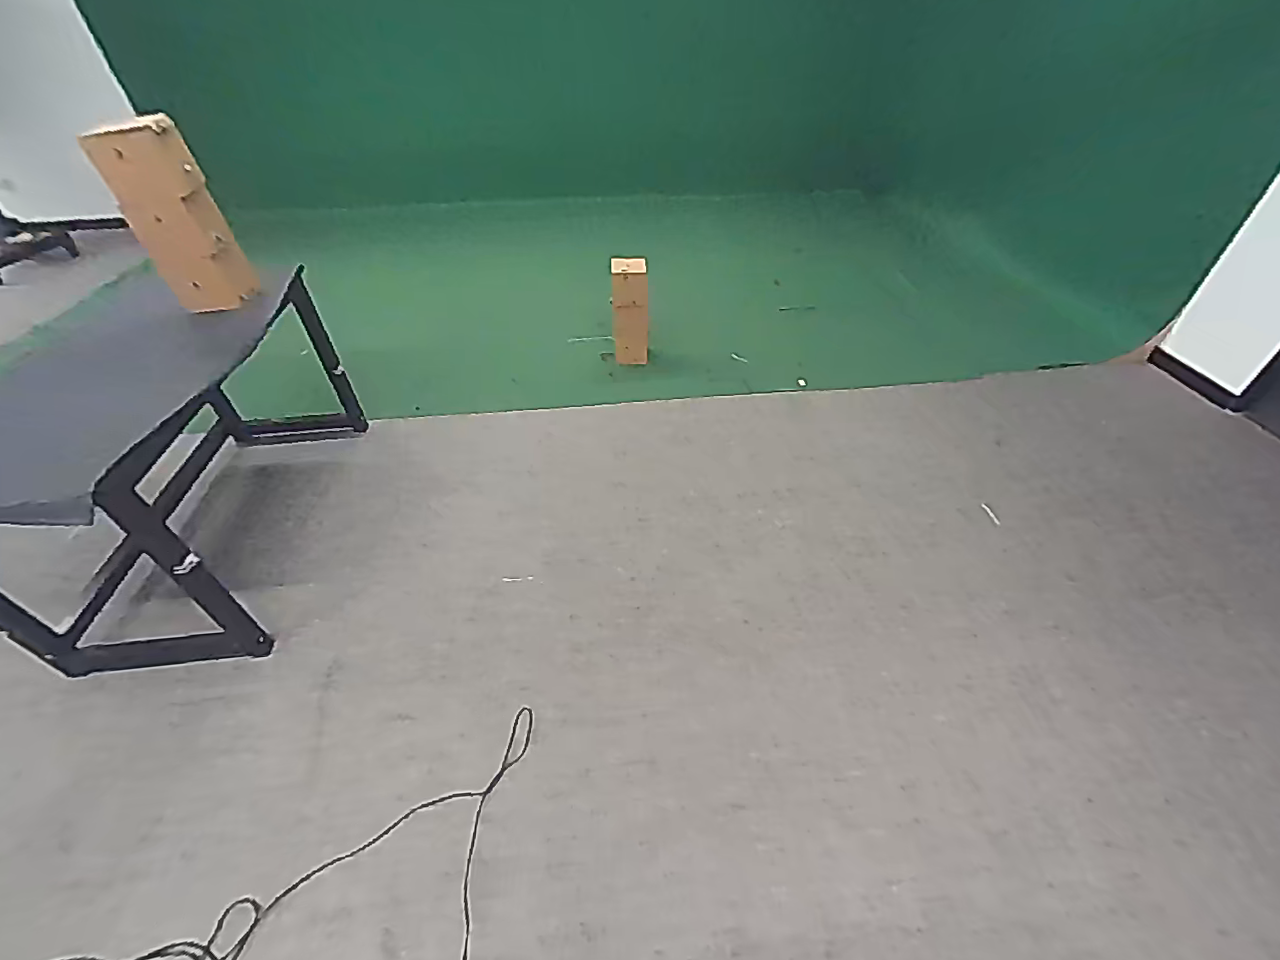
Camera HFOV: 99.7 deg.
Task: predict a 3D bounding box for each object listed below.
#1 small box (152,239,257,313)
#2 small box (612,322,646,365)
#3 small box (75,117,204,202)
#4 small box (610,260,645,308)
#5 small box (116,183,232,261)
[{"bbox_3d":[-1.386,-0.657,1.740,0.179,0.176,0.168,-7,44,-2],"label":"small box"},{"bbox_3d":[-0.056,-0.722,2.866,0.168,0.176,0.179,1,43,2],"label":"small box"},{"bbox_3d":[-1.388,-0.895,1.514,0.179,0.176,0.168,-11,46,-7],"label":"small box"},{"bbox_3d":[-0.064,-0.955,2.634,0.168,0.176,0.179,-1,42,-2],"label":"small box"},{"bbox_3d":[-1.389,-0.774,1.627,0.179,0.176,0.168,-8,45,-6],"label":"small box"}]
